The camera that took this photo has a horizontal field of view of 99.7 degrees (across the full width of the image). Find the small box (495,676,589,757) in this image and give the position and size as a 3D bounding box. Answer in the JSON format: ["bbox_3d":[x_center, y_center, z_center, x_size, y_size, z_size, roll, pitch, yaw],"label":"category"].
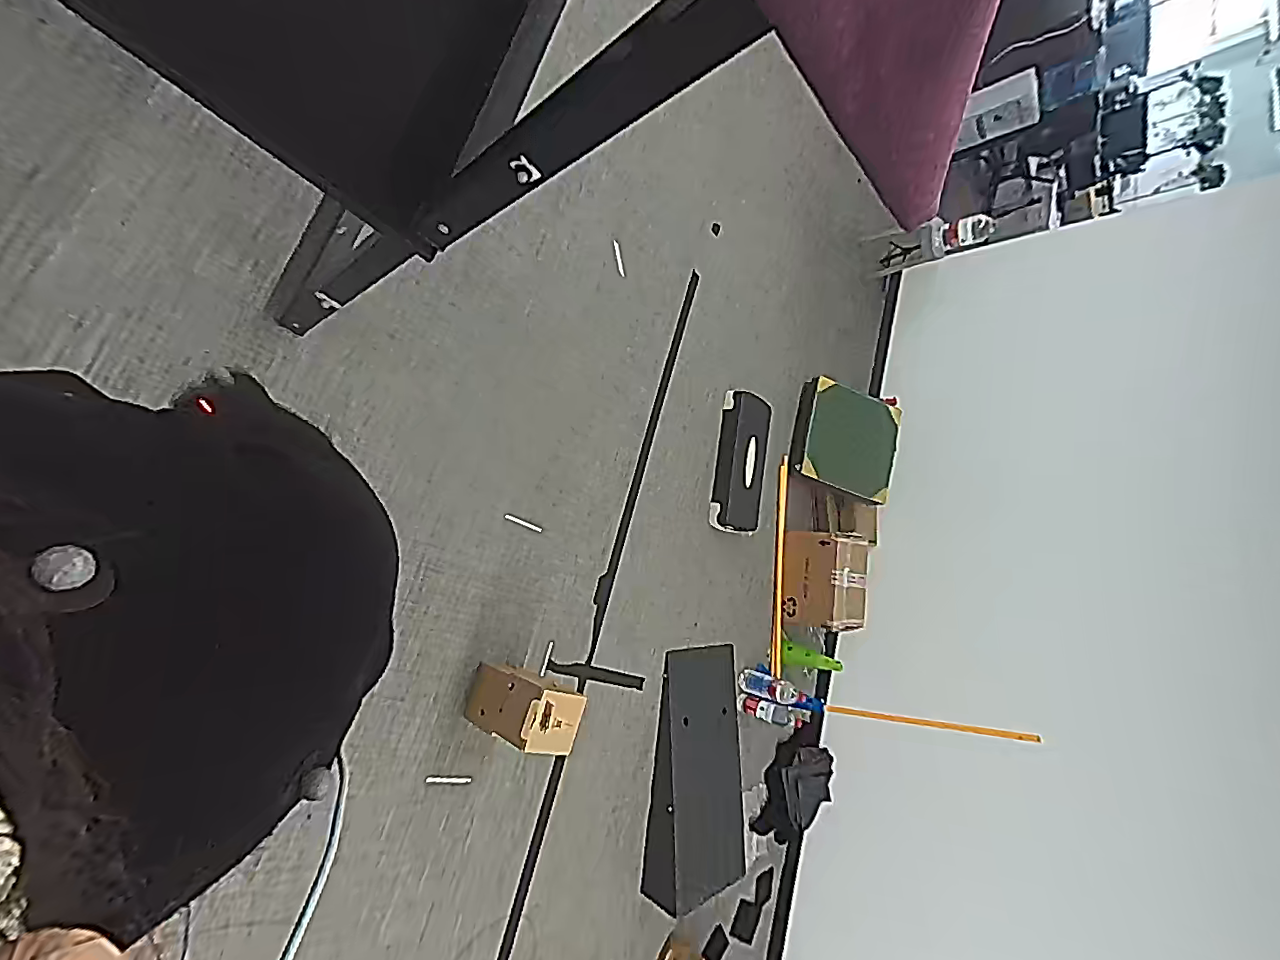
[{"bbox_3d":[-0.284,0.673,1.549,0.179,0.176,0.168,32,69,-42],"label":"small box"}]

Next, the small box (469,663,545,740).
[{"bbox_3d":[-0.401,0.680,1.663,0.168,0.176,0.179,29,71,-42],"label":"small box"}]
